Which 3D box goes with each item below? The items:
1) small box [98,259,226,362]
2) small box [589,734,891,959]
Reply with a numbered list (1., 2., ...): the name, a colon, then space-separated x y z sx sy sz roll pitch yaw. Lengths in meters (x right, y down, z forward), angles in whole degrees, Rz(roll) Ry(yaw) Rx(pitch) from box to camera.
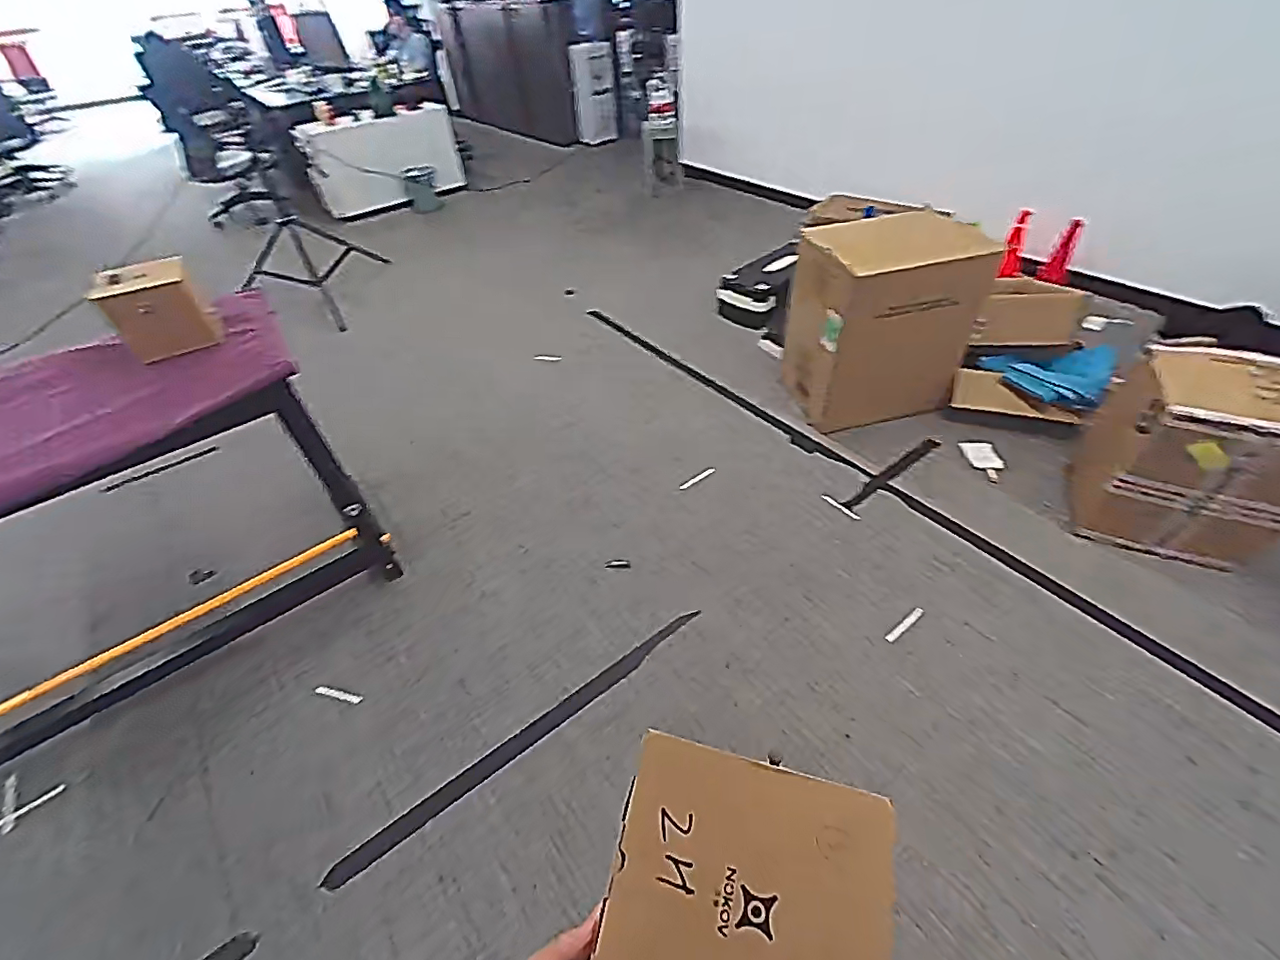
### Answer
1. small box: -1.162 -0.414 1.328 0.179 0.176 0.168 -24 49 -21
2. small box: 0.073 0.307 0.415 0.179 0.176 0.168 9 63 13
